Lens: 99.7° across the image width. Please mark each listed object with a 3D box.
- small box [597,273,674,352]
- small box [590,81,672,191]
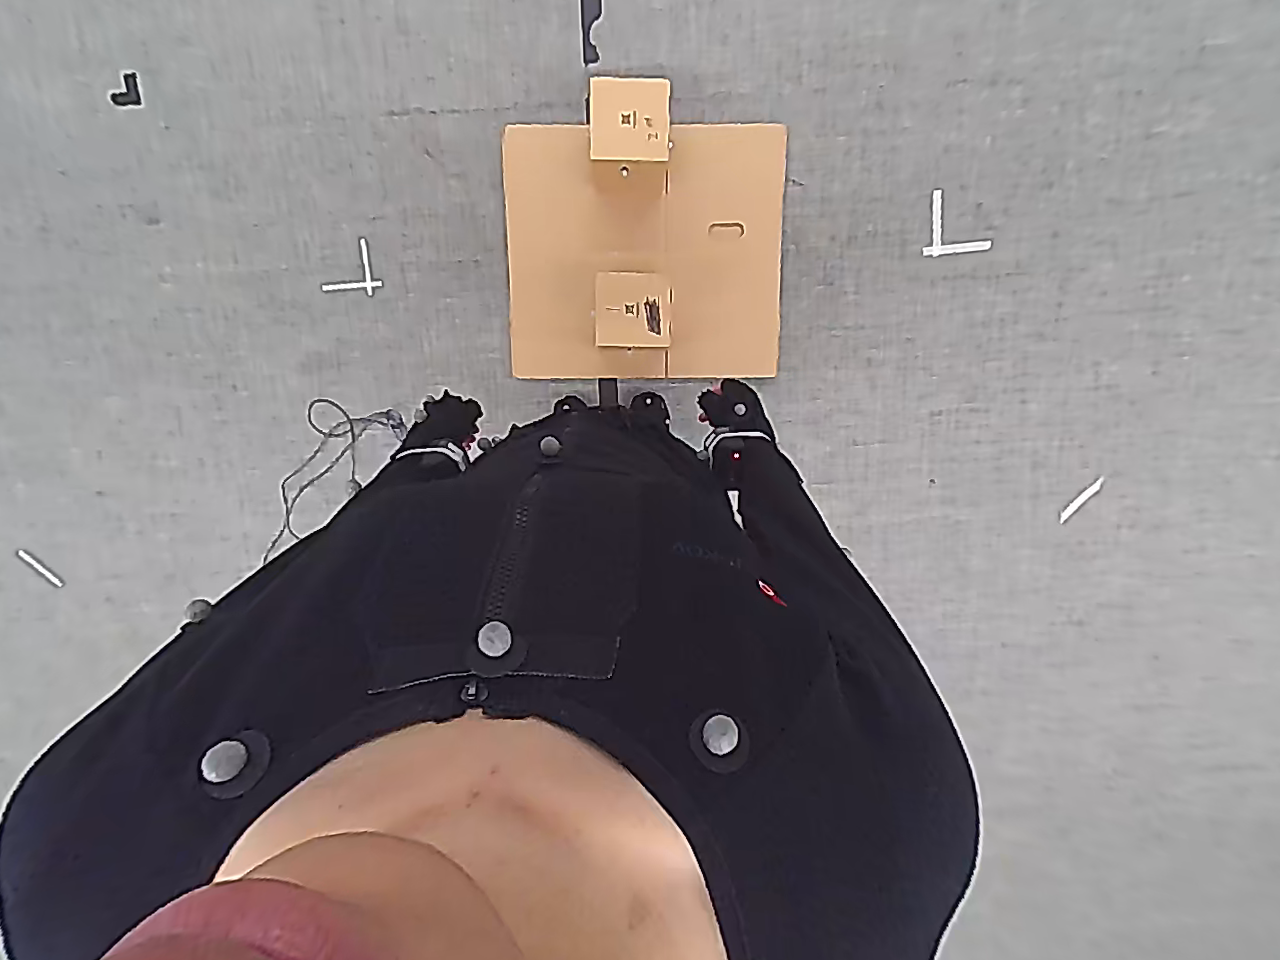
[{"bbox_3d":[-0.014,-0.403,1.322,0.179,0.176,0.168,1,100,-1],"label":"small box"},{"bbox_3d":[-0.021,-0.788,1.254,0.179,0.176,0.168,1,100,-2],"label":"small box"}]
